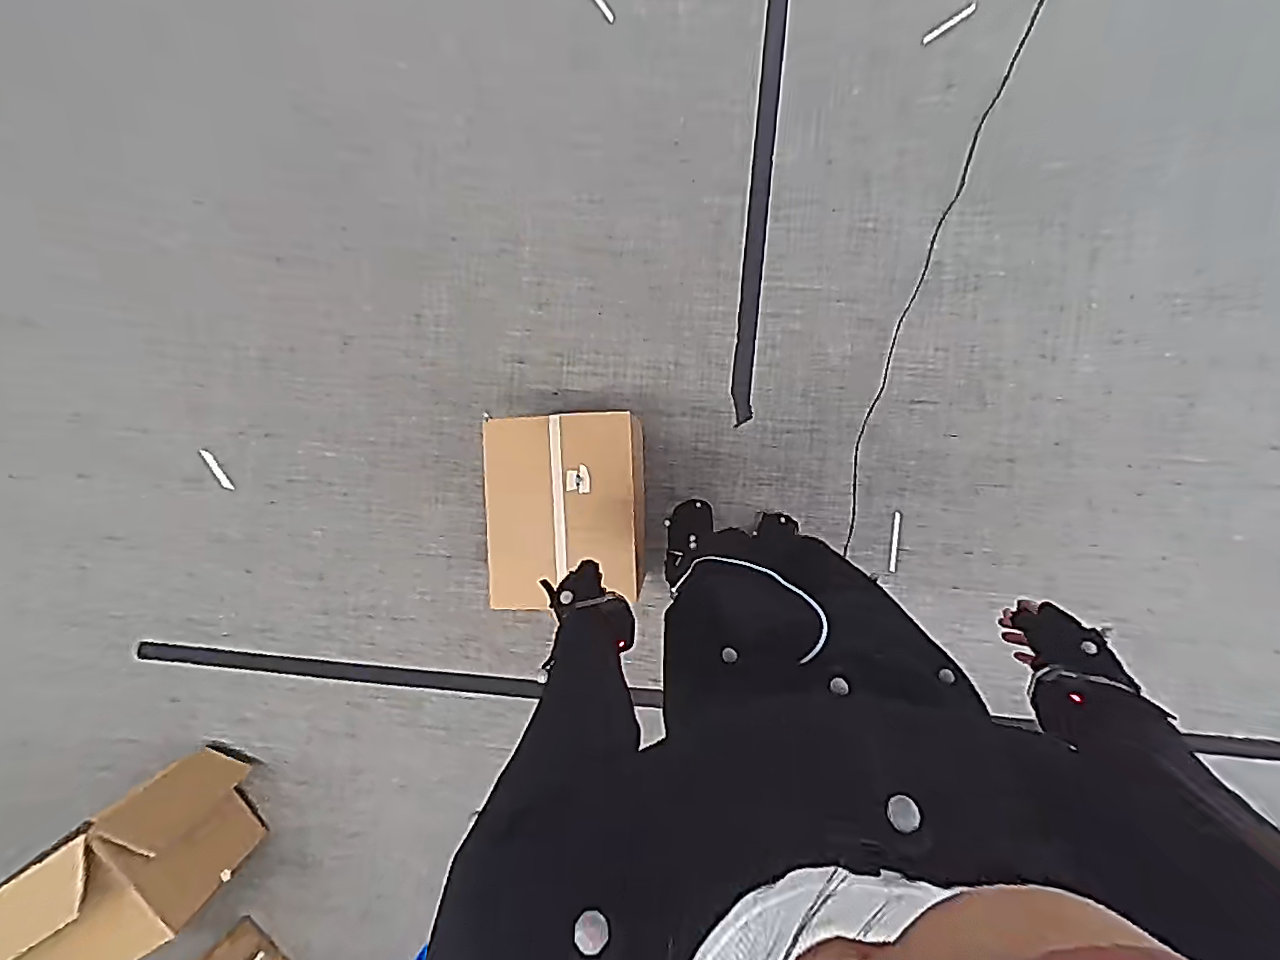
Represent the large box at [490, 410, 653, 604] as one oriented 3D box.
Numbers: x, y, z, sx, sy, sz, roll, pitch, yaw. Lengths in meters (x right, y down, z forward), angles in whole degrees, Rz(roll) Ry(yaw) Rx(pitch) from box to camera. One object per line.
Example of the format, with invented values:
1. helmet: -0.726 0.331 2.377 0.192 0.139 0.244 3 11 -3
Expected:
1. large box: -0.142 0.061 1.283 0.320 0.320 0.408 -2 90 5
